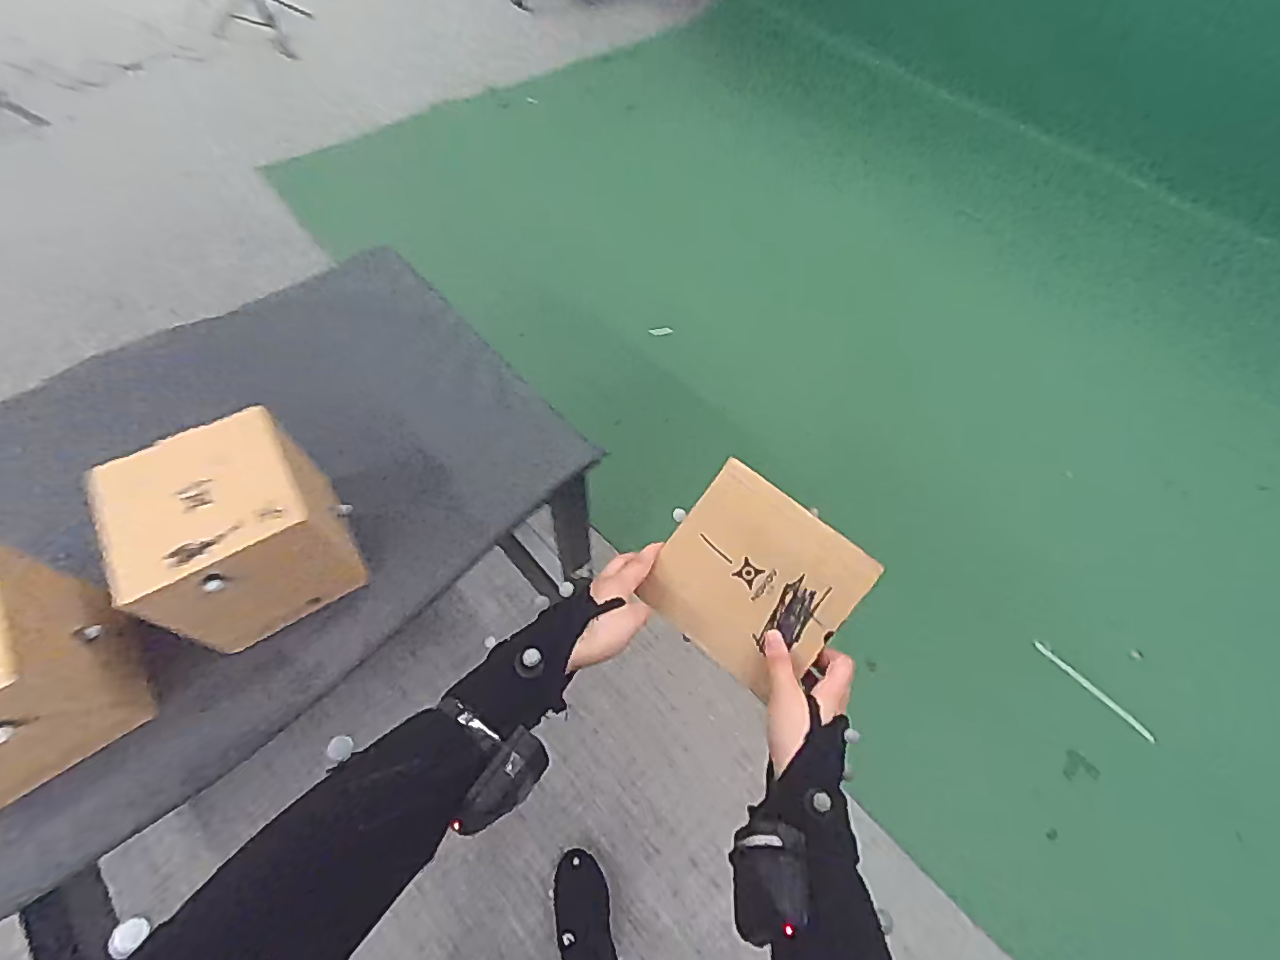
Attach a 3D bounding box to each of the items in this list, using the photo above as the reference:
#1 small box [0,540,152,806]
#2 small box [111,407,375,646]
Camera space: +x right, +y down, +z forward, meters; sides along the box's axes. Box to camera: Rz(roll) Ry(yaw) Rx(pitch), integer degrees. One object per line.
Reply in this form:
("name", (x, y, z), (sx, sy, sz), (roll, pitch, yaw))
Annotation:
("small box", (-0.625, 0.194, 0.520), (0.179, 0.176, 0.168), (-32, 64, -19))
("small box", (-0.435, 0.056, 0.613), (0.168, 0.176, 0.179), (-29, 63, -18))
